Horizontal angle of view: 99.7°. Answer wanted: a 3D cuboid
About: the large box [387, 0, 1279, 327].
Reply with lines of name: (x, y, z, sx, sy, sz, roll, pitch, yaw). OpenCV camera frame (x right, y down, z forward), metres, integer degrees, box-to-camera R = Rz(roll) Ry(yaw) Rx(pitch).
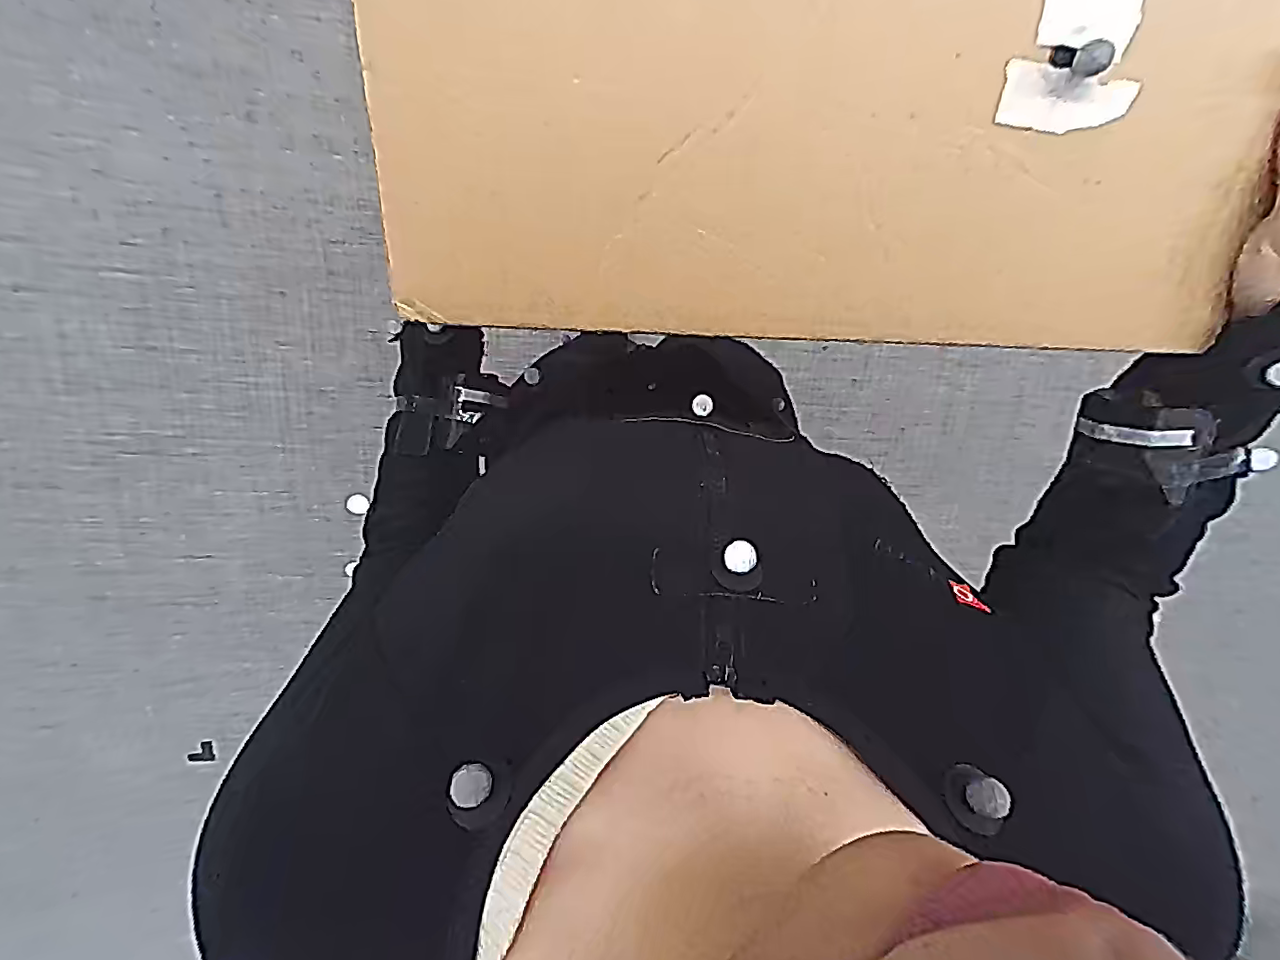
large box: (0.085, -0.281, 0.330, 0.408, 0.320, 0.320, -1, 117, -10)
